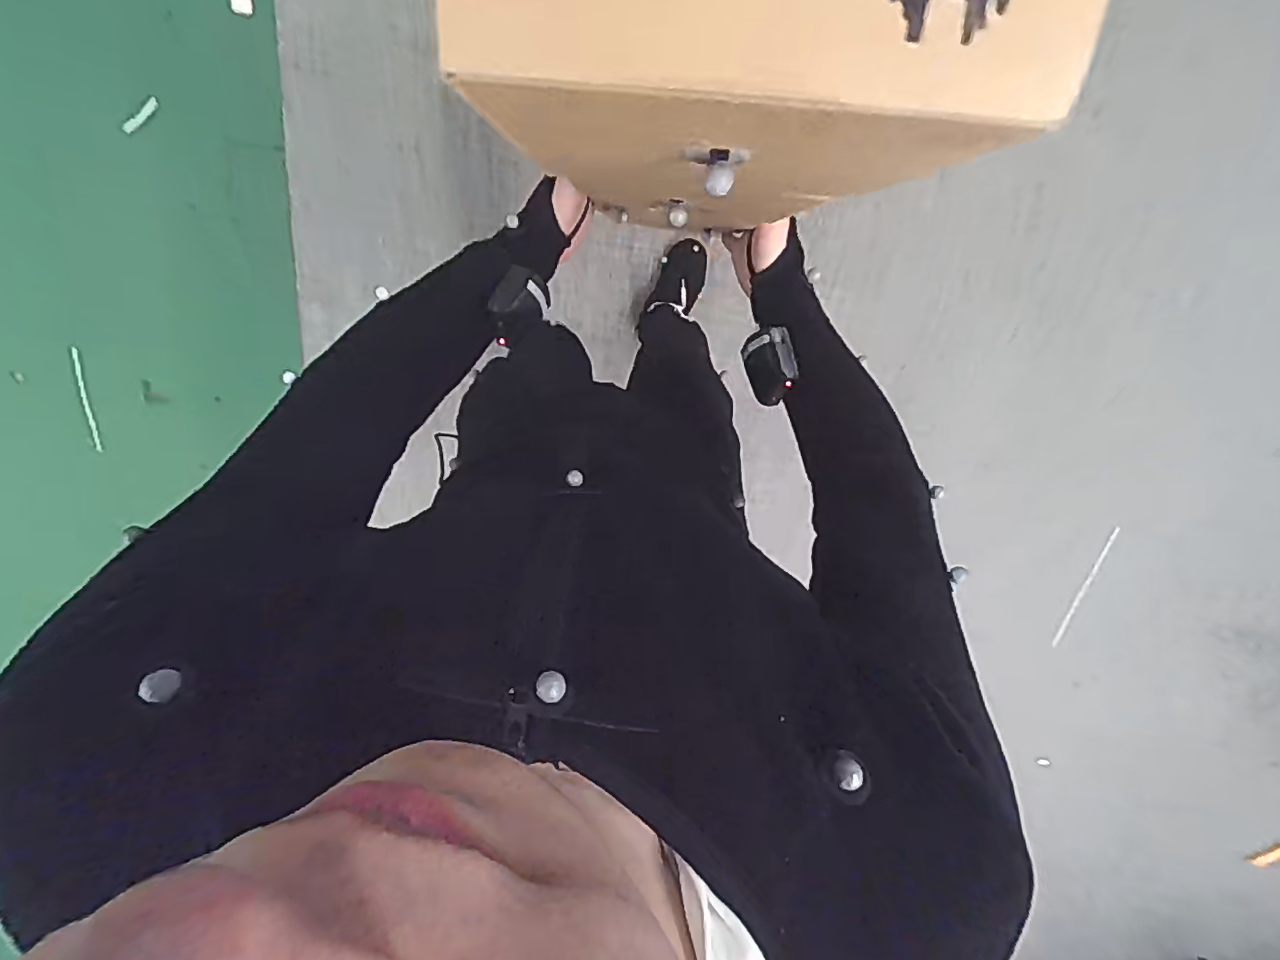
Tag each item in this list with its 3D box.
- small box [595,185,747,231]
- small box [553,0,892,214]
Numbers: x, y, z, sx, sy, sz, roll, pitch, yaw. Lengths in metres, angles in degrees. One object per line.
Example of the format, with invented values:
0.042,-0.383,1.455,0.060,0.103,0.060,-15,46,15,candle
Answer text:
0.048,-0.402,0.646,0.179,0.176,0.168,8,111,-3,small box
0.046,-0.281,0.340,0.168,0.176,0.179,8,112,-2,small box
